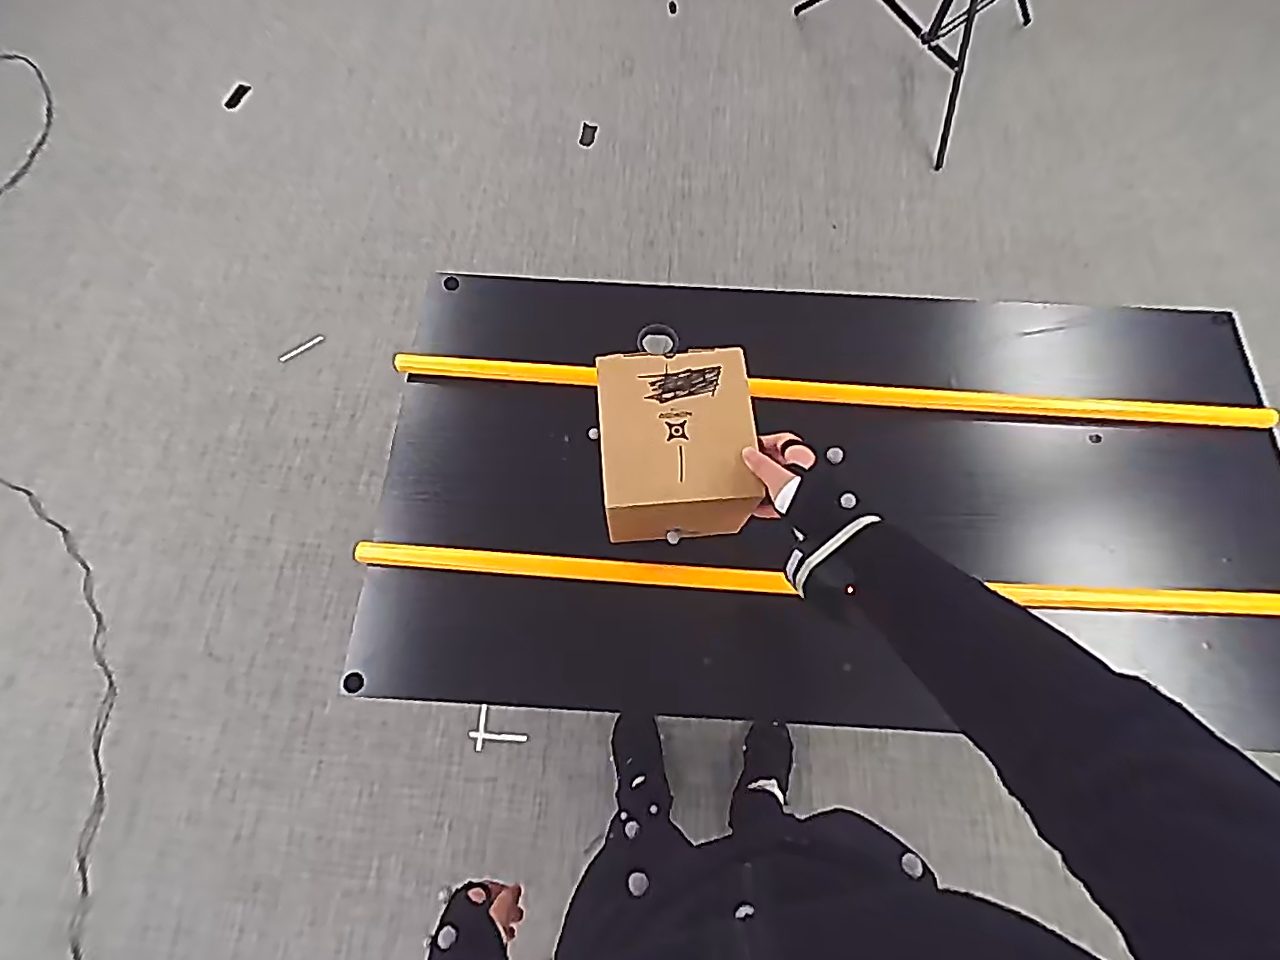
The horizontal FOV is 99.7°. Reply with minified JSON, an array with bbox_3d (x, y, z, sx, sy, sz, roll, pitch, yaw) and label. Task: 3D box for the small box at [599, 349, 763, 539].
[{"bbox_3d":[0.039,-0.036,0.655,0.168,0.176,0.179,-4,72,-2],"label":"small box"}]
